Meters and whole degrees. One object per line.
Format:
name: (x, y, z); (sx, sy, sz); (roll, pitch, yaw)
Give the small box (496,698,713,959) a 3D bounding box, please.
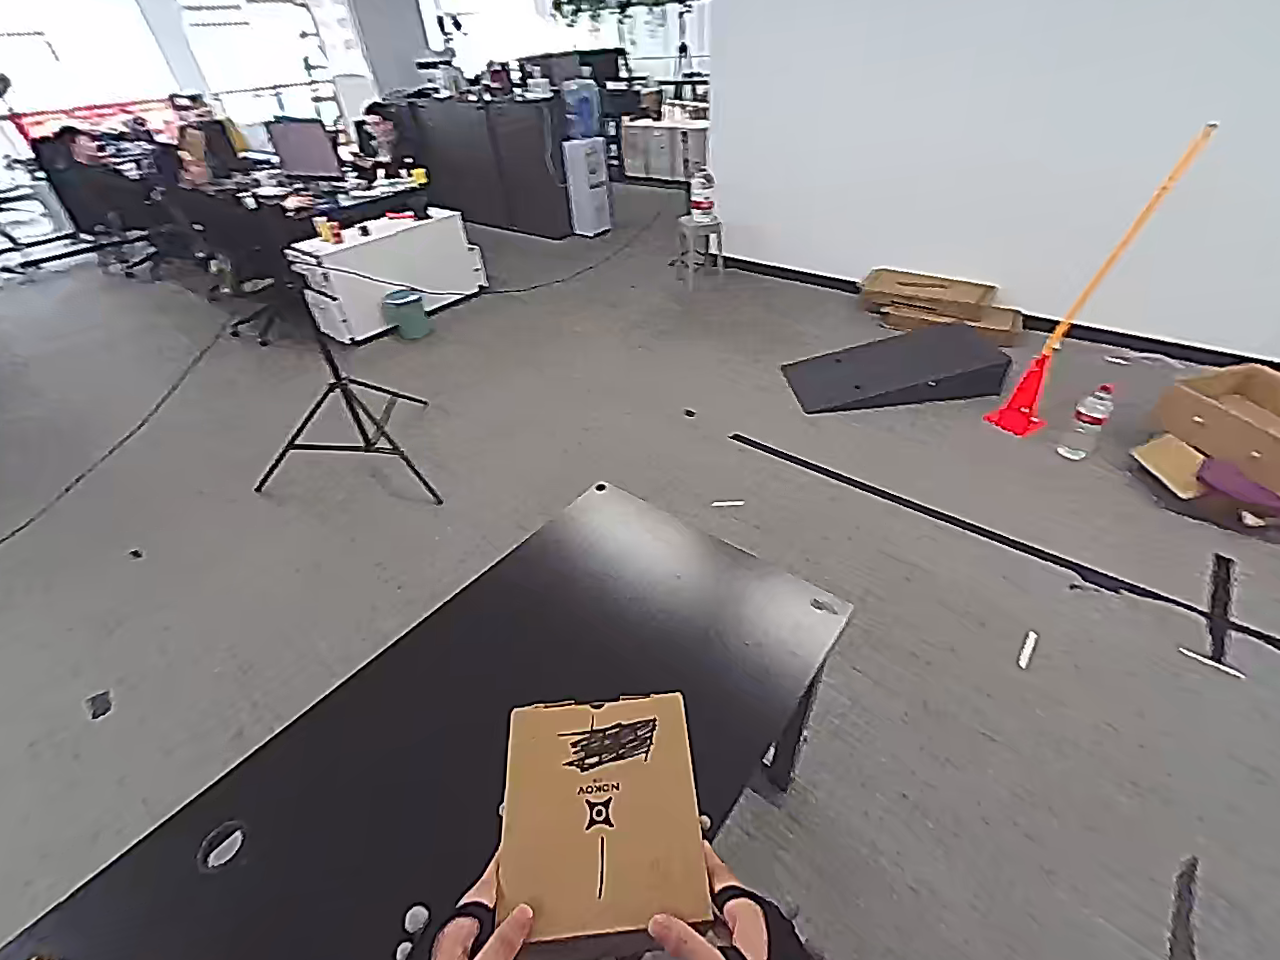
small box: (-0.030, 0.334, 0.517); (0.168, 0.176, 0.179); (-5, 45, -2)
